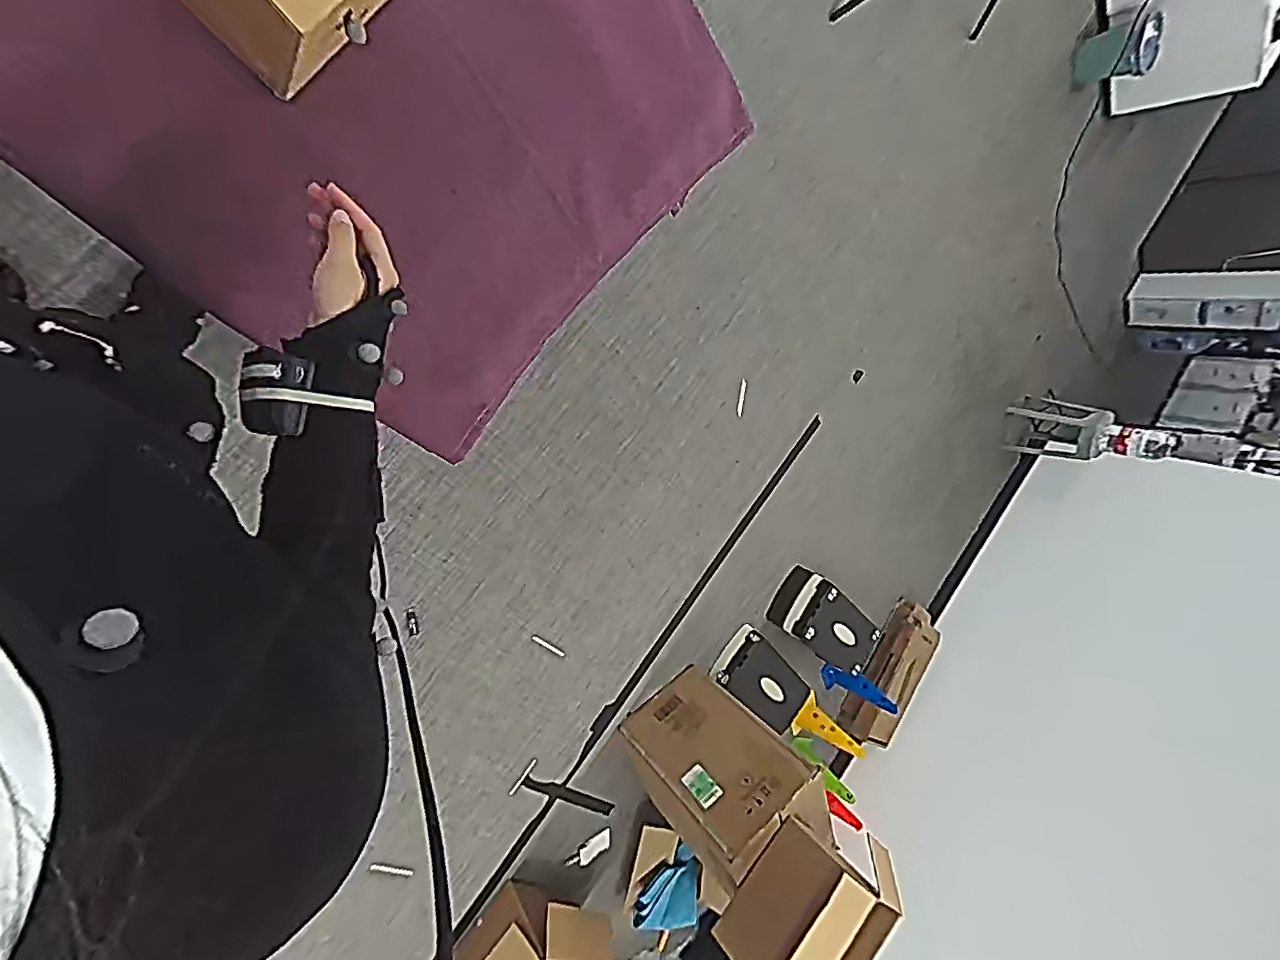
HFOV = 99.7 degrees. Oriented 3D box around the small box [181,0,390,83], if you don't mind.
[{"bbox_3d":[-0.276,-0.429,0.388,0.168,0.176,0.179,-54,128,-9],"label":"small box"}]
